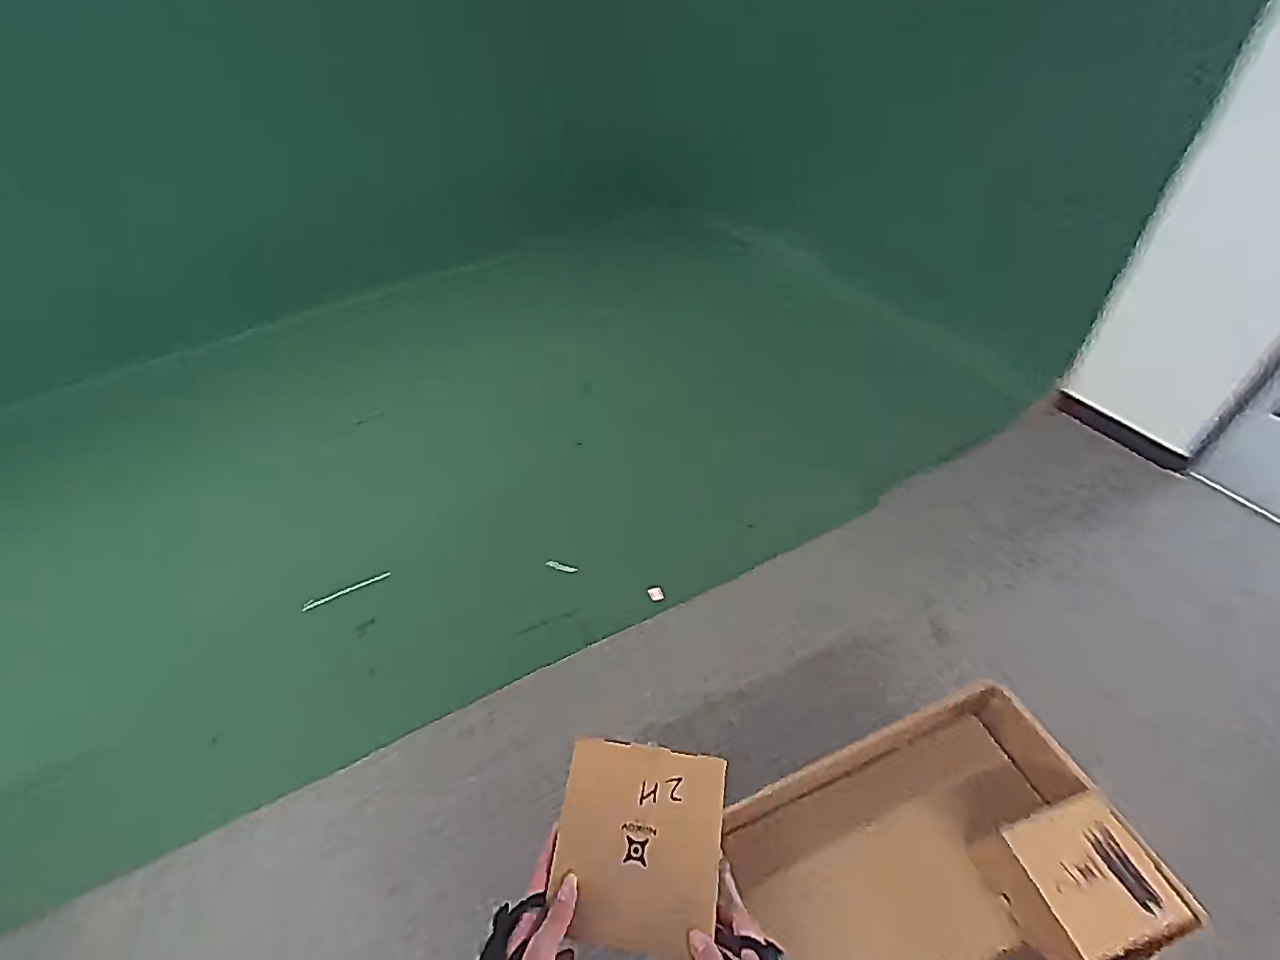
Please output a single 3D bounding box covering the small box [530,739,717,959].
[{"bbox_3d":[-0.010,0.404,0.605,0.168,0.176,0.179,7,60,4],"label":"small box"}]
